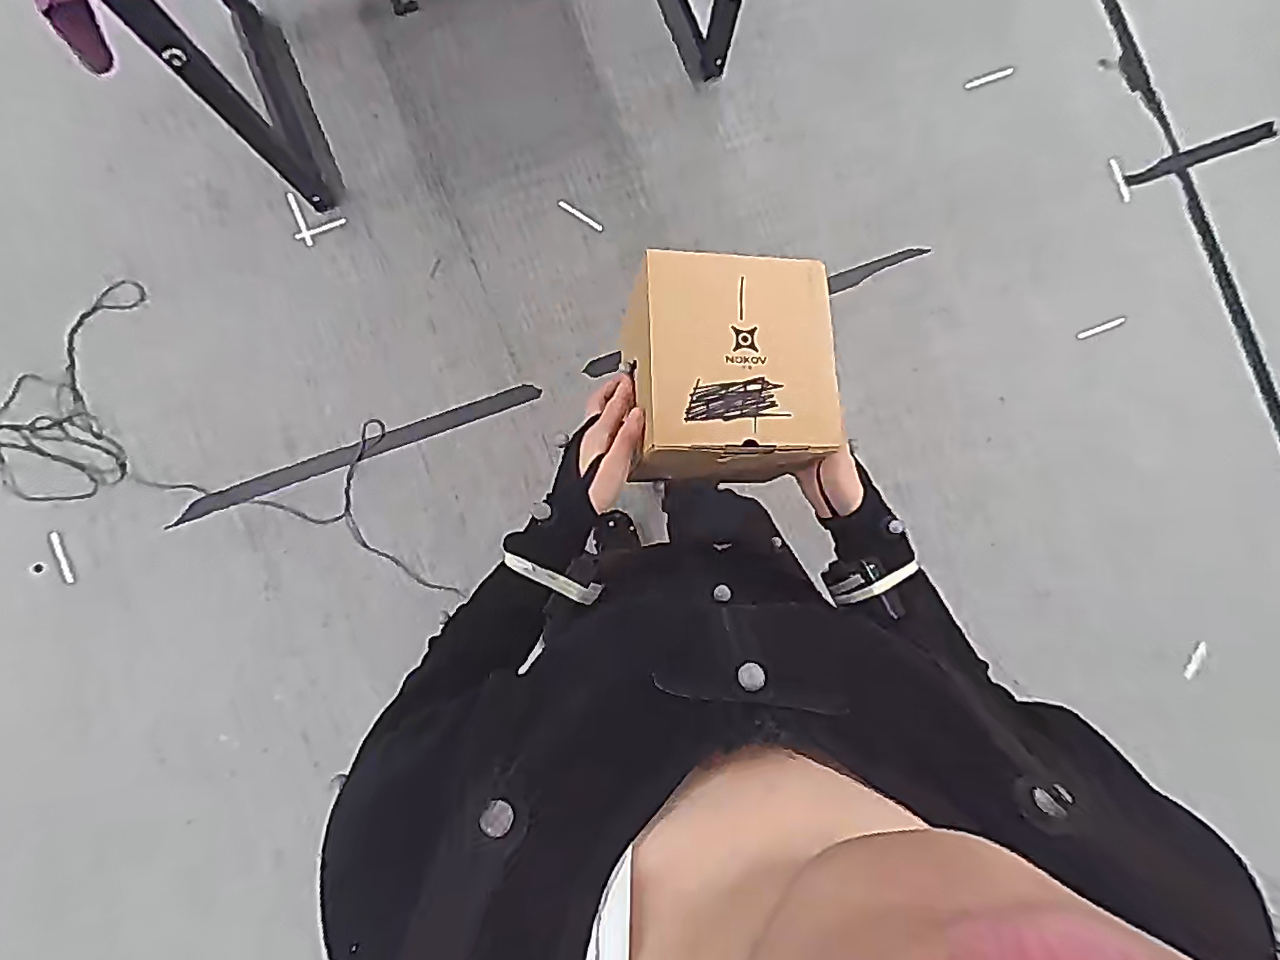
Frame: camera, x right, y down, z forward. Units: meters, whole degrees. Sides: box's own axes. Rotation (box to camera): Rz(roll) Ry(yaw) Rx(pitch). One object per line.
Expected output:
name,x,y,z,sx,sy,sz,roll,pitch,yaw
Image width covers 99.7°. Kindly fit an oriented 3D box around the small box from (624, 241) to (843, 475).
small box,0.077,-0.103,0.533,0.168,0.176,0.179,0,79,-9
